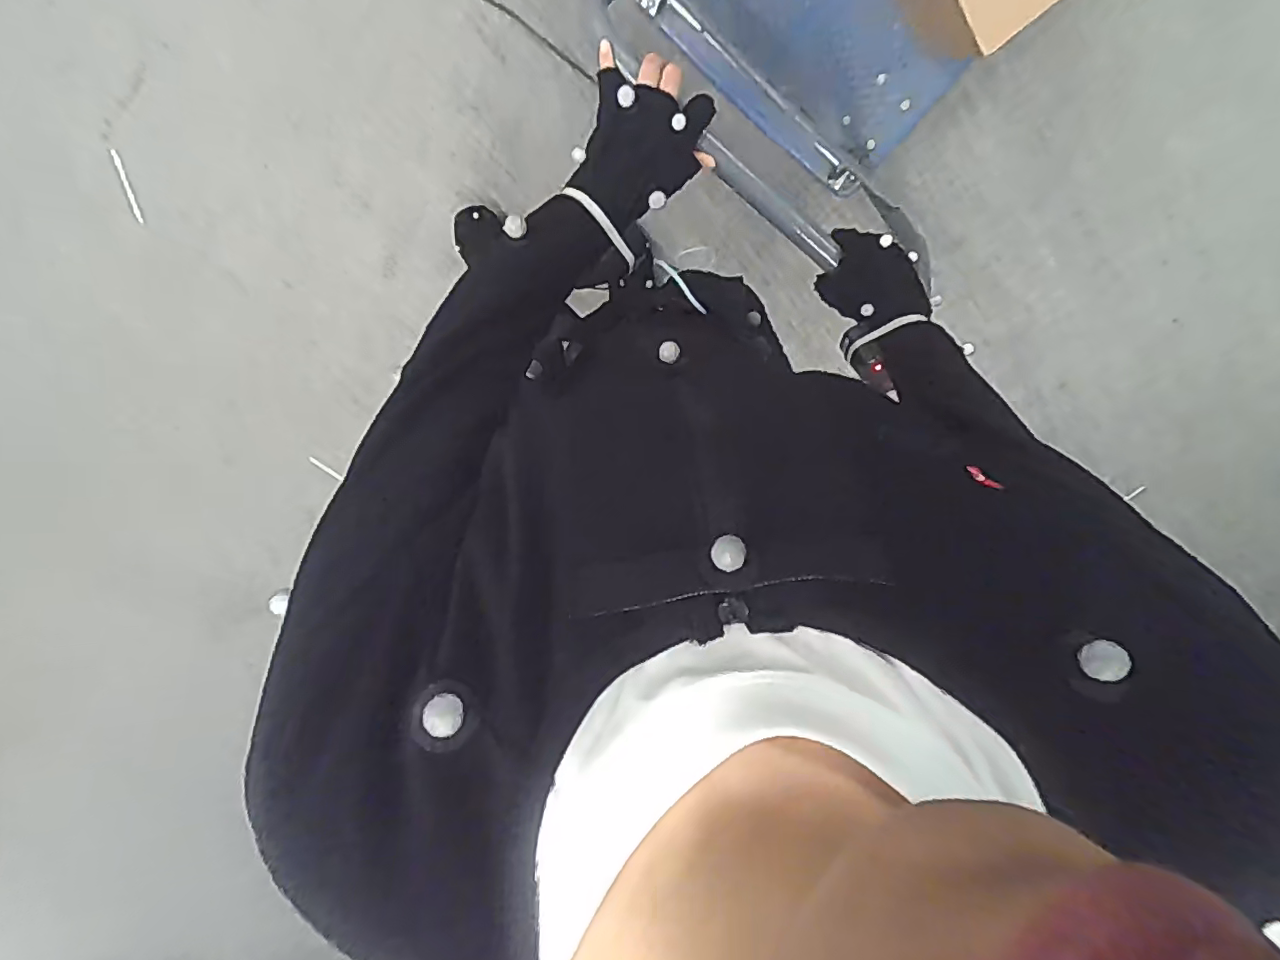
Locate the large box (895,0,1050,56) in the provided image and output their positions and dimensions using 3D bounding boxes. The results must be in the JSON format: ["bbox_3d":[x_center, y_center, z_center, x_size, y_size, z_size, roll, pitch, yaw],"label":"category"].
[{"bbox_3d":[0.469,-0.875,0.715,0.320,0.320,0.408,-33,118,29],"label":"large box"}]
